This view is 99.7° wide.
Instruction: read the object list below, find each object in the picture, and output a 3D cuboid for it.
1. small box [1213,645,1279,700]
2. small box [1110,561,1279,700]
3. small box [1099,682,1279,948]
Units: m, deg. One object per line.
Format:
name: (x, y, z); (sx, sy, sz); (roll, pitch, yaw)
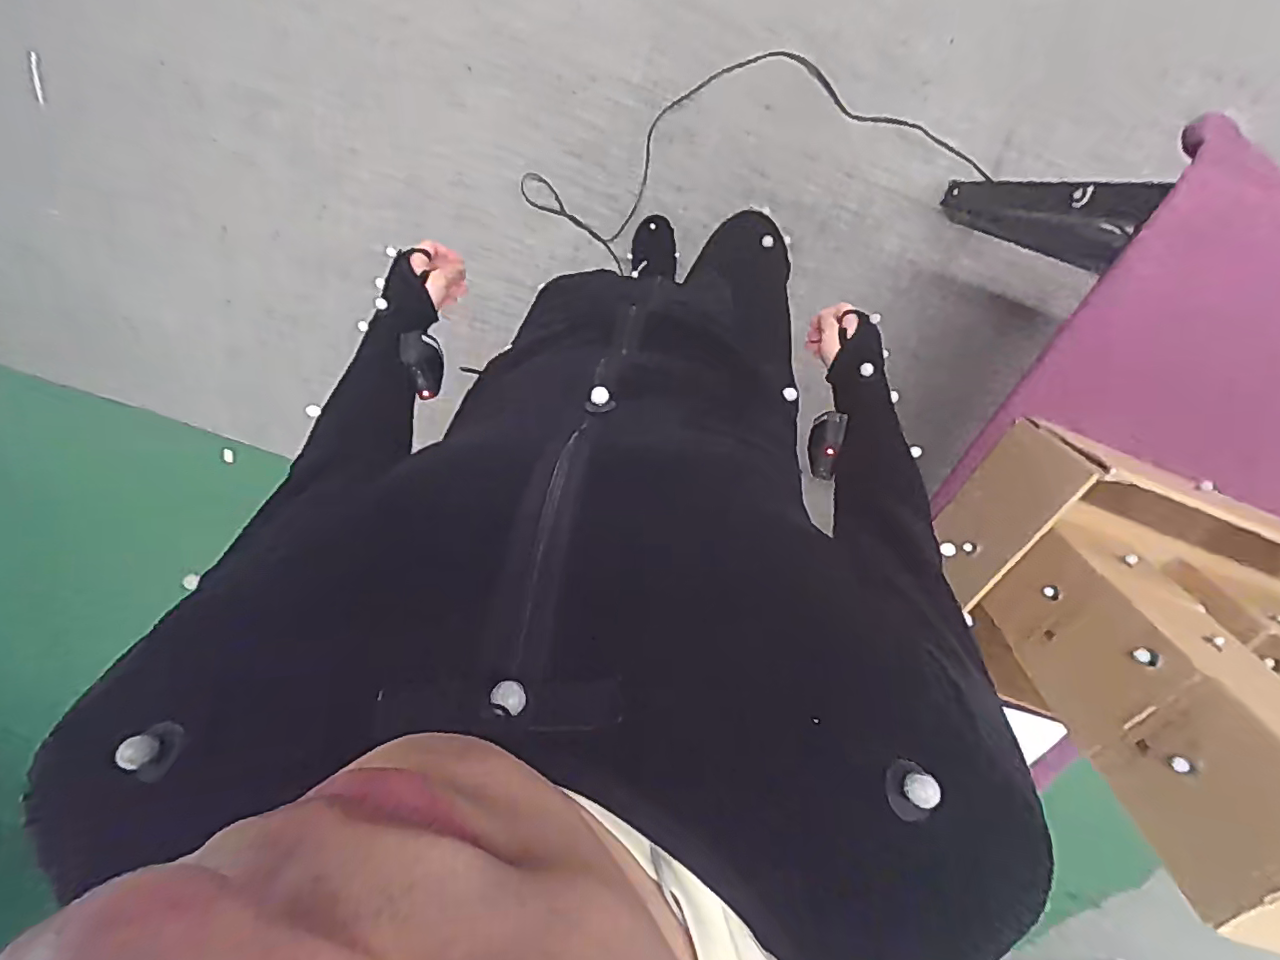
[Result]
small box: (0.910, 0.336, 0.707); (0.179, 0.176, 0.168); (18, 120, -4)
small box: (0.918, 0.253, 0.849); (0.179, 0.176, 0.168); (19, 120, -4)
small box: (0.634, 0.332, 0.537); (0.179, 0.176, 0.168); (21, 119, -7)
